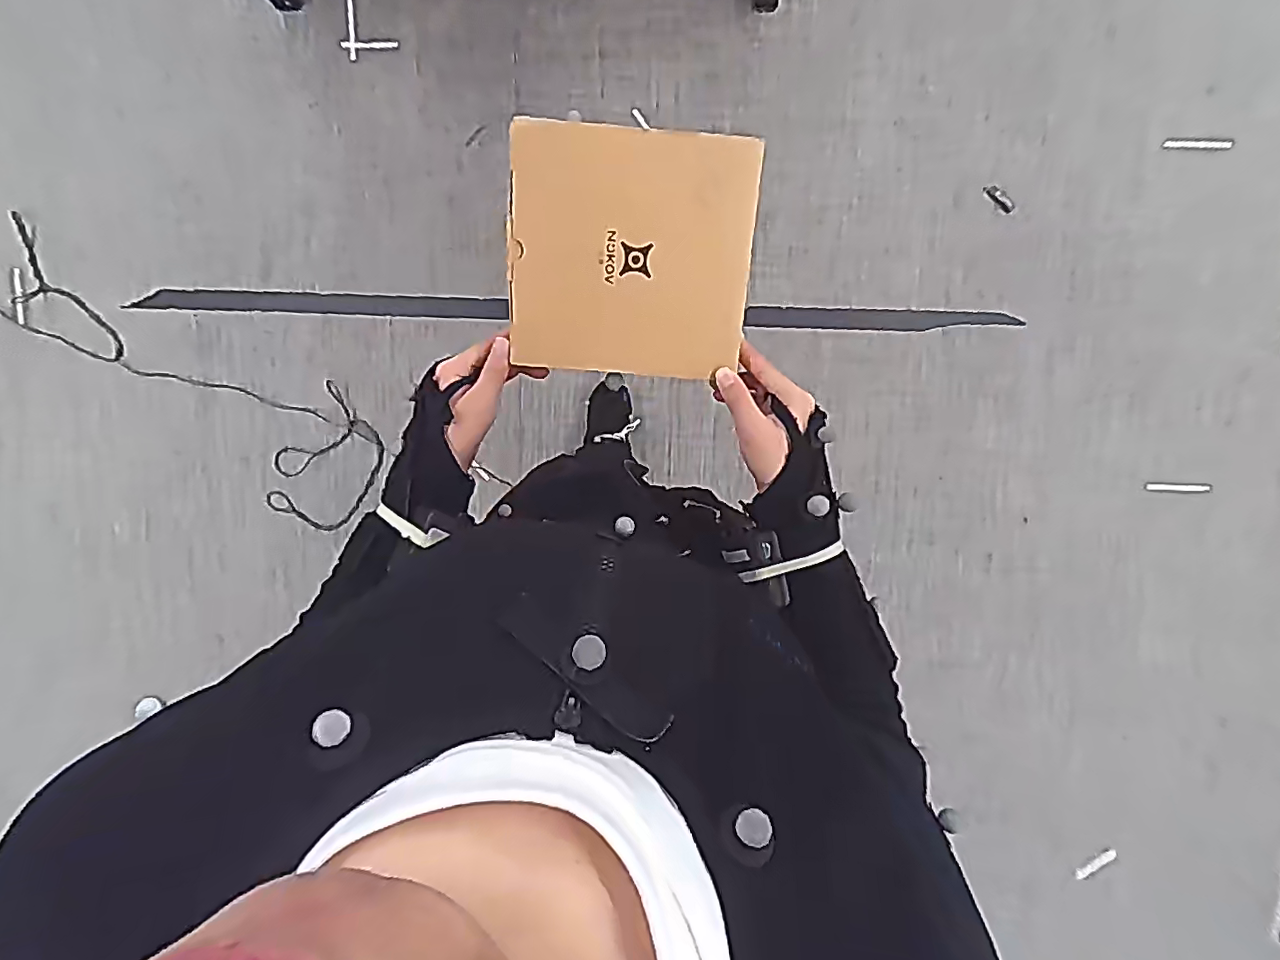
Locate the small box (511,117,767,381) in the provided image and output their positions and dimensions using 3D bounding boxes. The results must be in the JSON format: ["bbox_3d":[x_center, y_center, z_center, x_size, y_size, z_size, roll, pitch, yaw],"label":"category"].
[{"bbox_3d":[-0.004,-0.185,0.468,0.179,0.176,0.168,5,106,0],"label":"small box"}]
